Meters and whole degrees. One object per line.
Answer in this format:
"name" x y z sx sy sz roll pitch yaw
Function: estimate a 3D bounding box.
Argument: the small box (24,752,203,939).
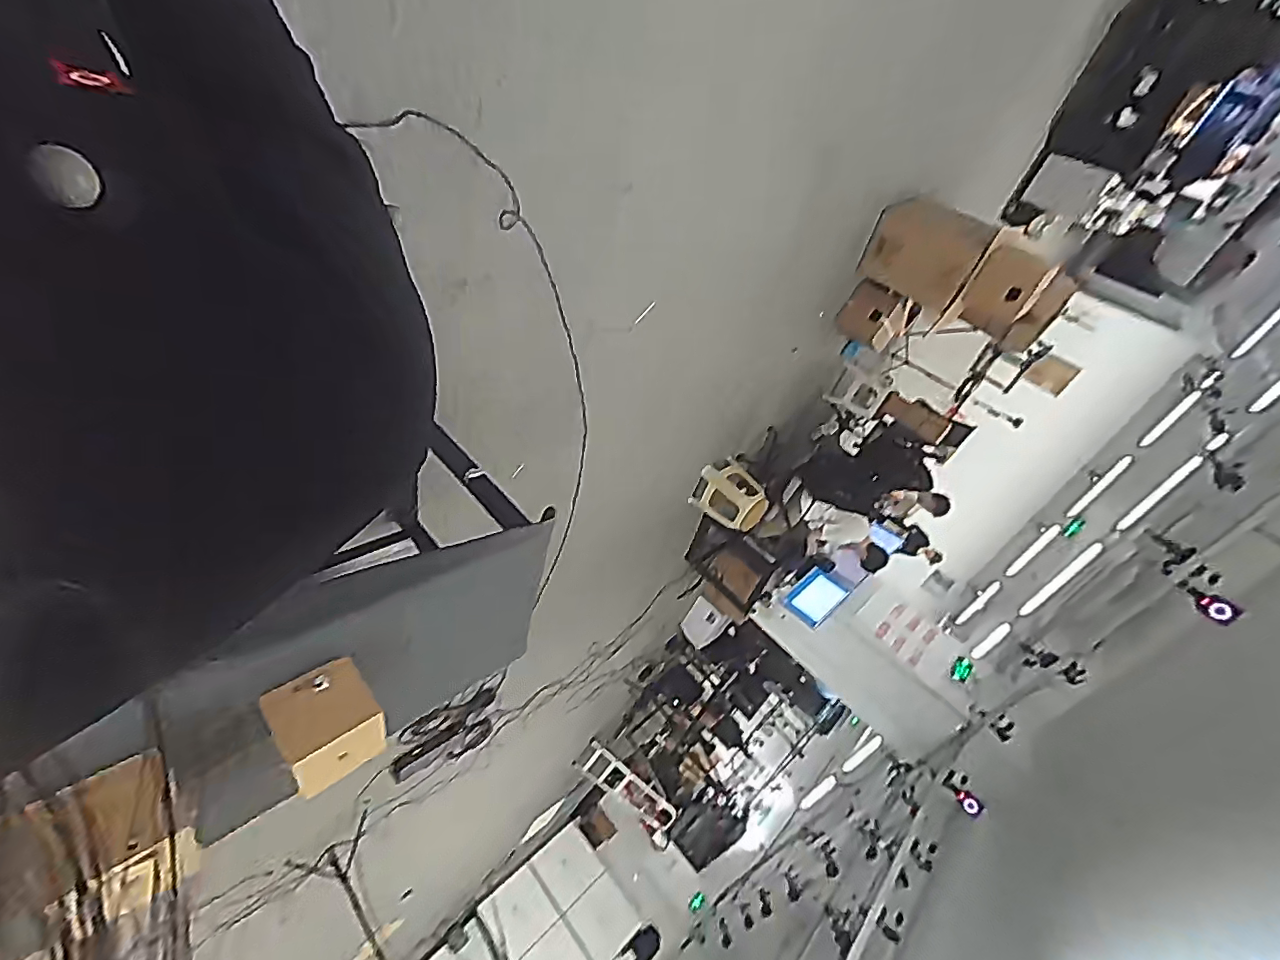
"small box" -0.862 0.593 0.895 0.168 0.176 0.179 -22 144 -45

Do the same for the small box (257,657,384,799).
"small box" -0.648 0.500 1.108 0.168 0.176 0.179 -27 146 -41
